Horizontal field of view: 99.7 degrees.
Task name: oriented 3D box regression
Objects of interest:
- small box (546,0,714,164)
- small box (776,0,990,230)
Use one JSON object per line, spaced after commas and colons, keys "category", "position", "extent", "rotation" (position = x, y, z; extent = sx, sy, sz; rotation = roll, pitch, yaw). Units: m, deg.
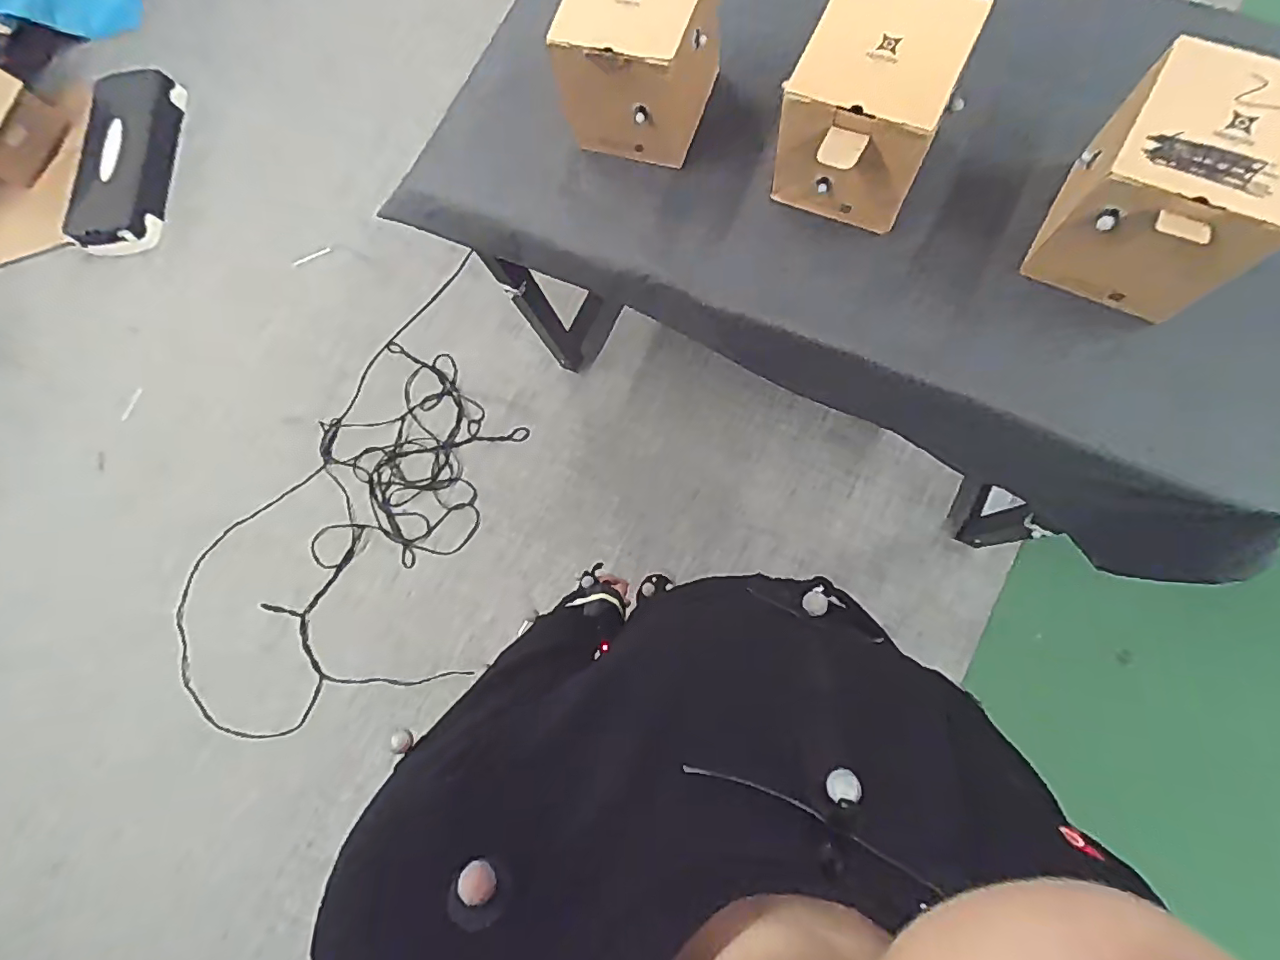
{"category": "small box", "position": [0.000, -0.567, 0.727], "extent": [0.168, 0.176, 0.179], "rotation": [19, 81, 10]}
{"category": "small box", "position": [0.278, -0.450, 0.662], "extent": [0.168, 0.176, 0.179], "rotation": [25, 84, 12]}
